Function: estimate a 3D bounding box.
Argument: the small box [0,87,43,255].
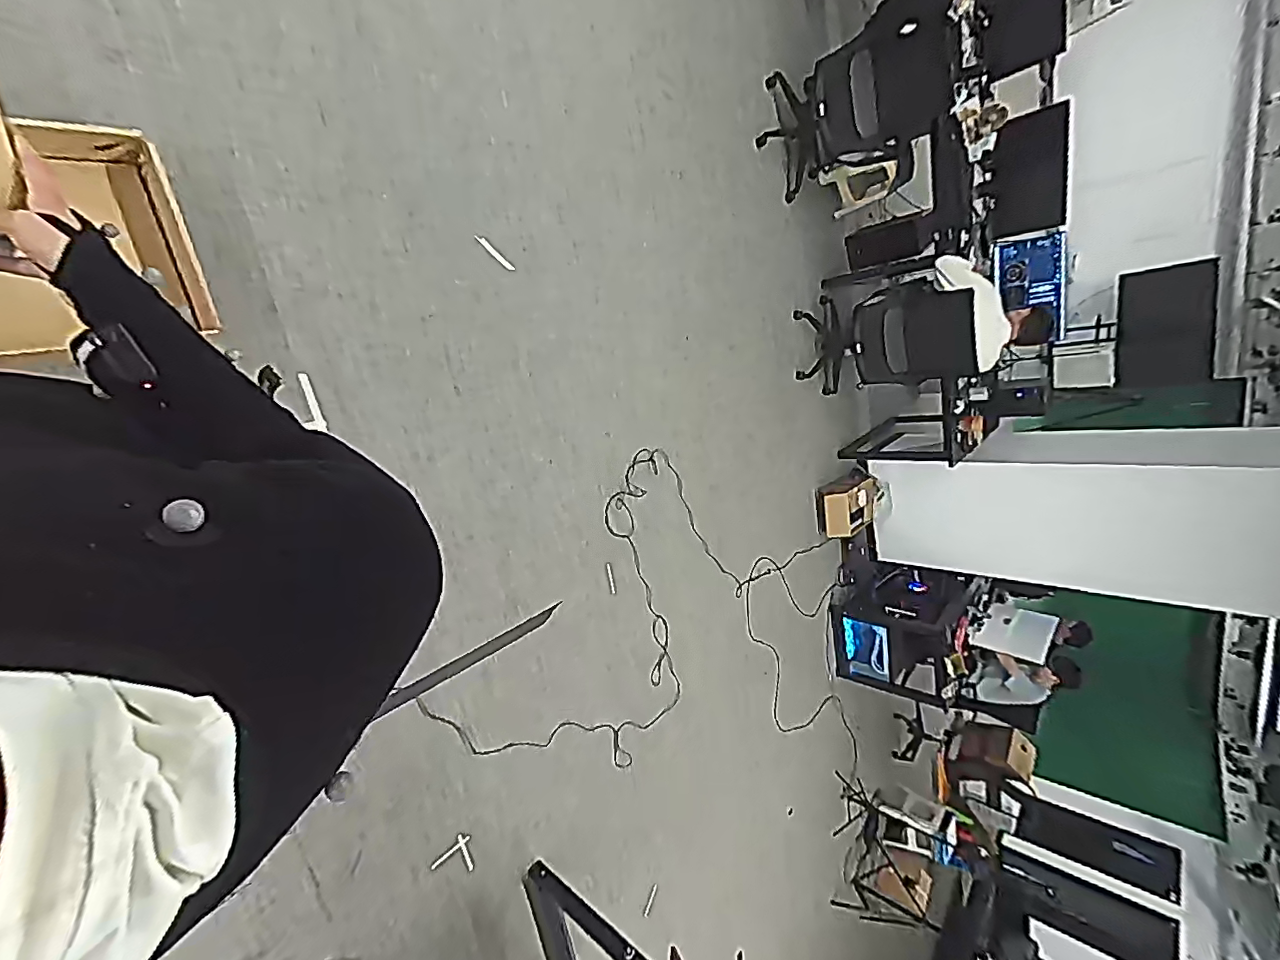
[{"bbox_3d":[-0.651,-0.285,0.441,0.179,0.176,0.168,-21,112,-50],"label":"small box"}]
